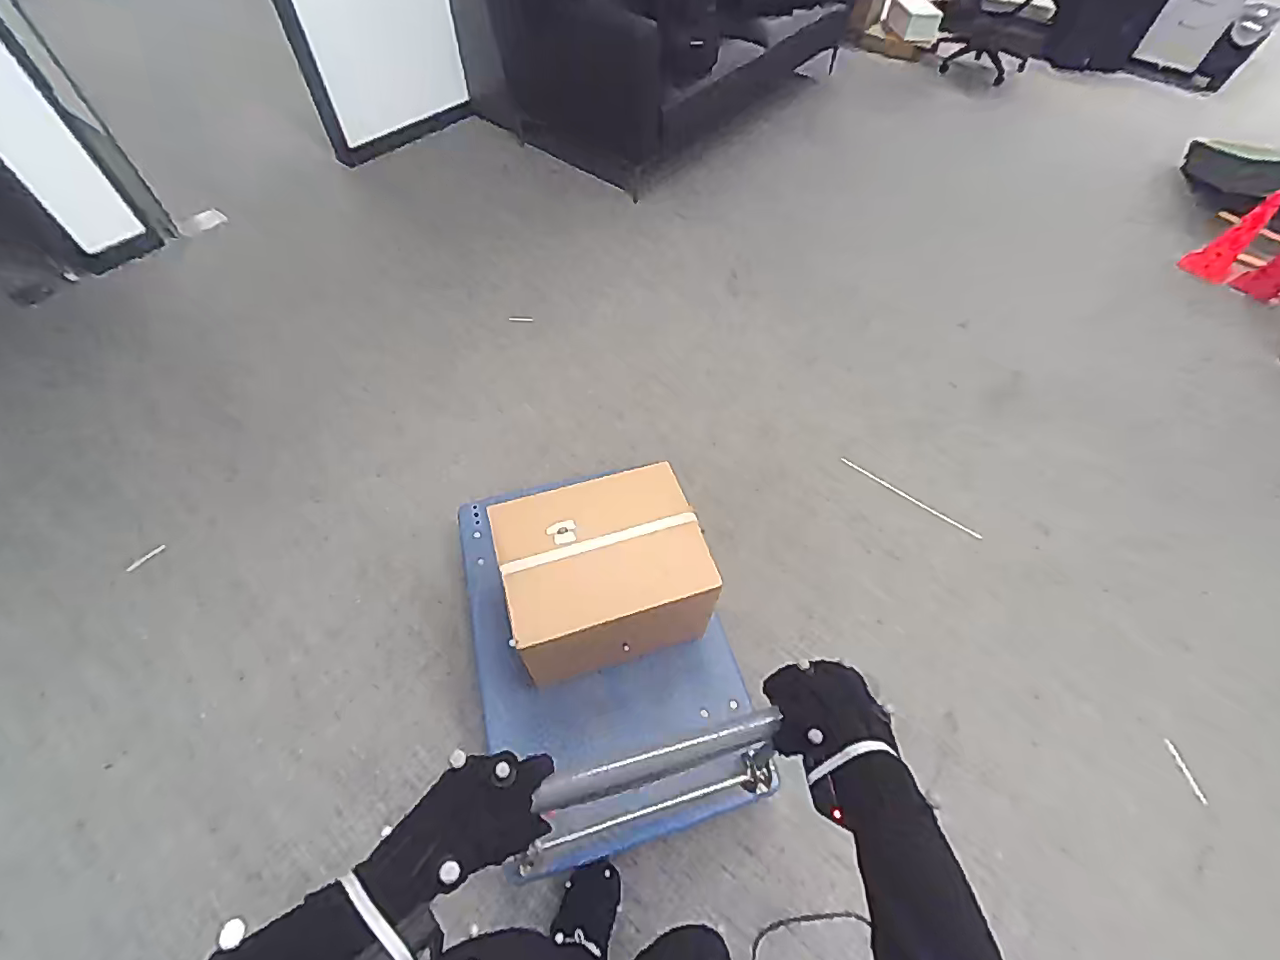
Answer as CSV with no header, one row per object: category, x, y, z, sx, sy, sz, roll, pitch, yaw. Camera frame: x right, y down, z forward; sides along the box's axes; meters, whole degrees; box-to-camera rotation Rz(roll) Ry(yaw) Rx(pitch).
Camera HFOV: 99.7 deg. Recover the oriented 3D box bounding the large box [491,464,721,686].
large box,-0.078,0.218,1.217,0.408,0.320,0.320,-16,58,-12
